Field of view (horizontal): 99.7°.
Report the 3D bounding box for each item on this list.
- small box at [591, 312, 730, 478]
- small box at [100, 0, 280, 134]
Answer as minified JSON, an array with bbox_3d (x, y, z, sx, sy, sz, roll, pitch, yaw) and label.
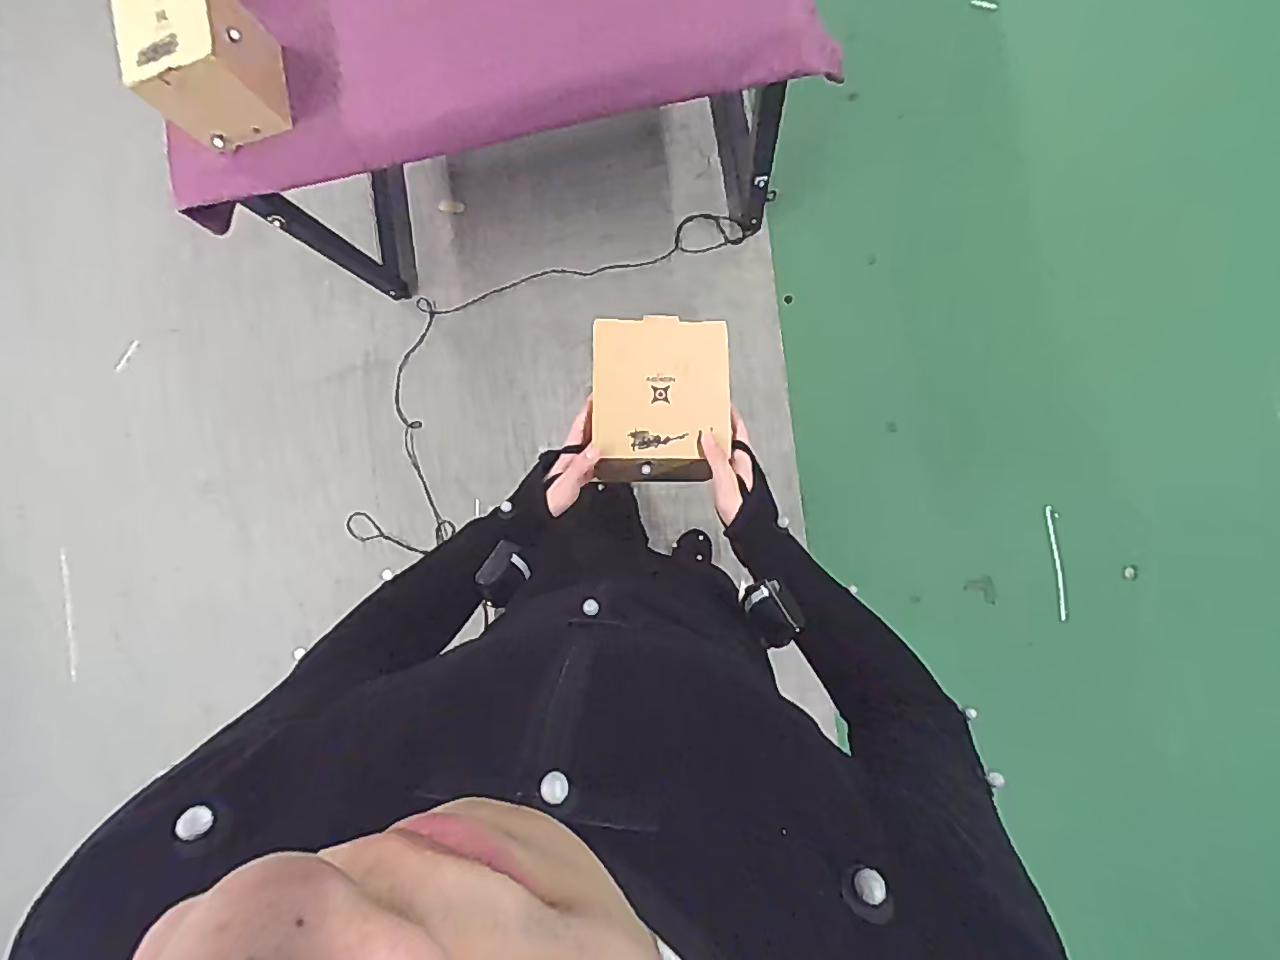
[{"bbox_3d":[0.021,-0.103,0.720,0.168,0.176,0.179,0,82,-3],"label":"small box"},{"bbox_3d":[-0.752,-0.729,0.920,0.168,0.176,0.179,-12,86,6],"label":"small box"}]
